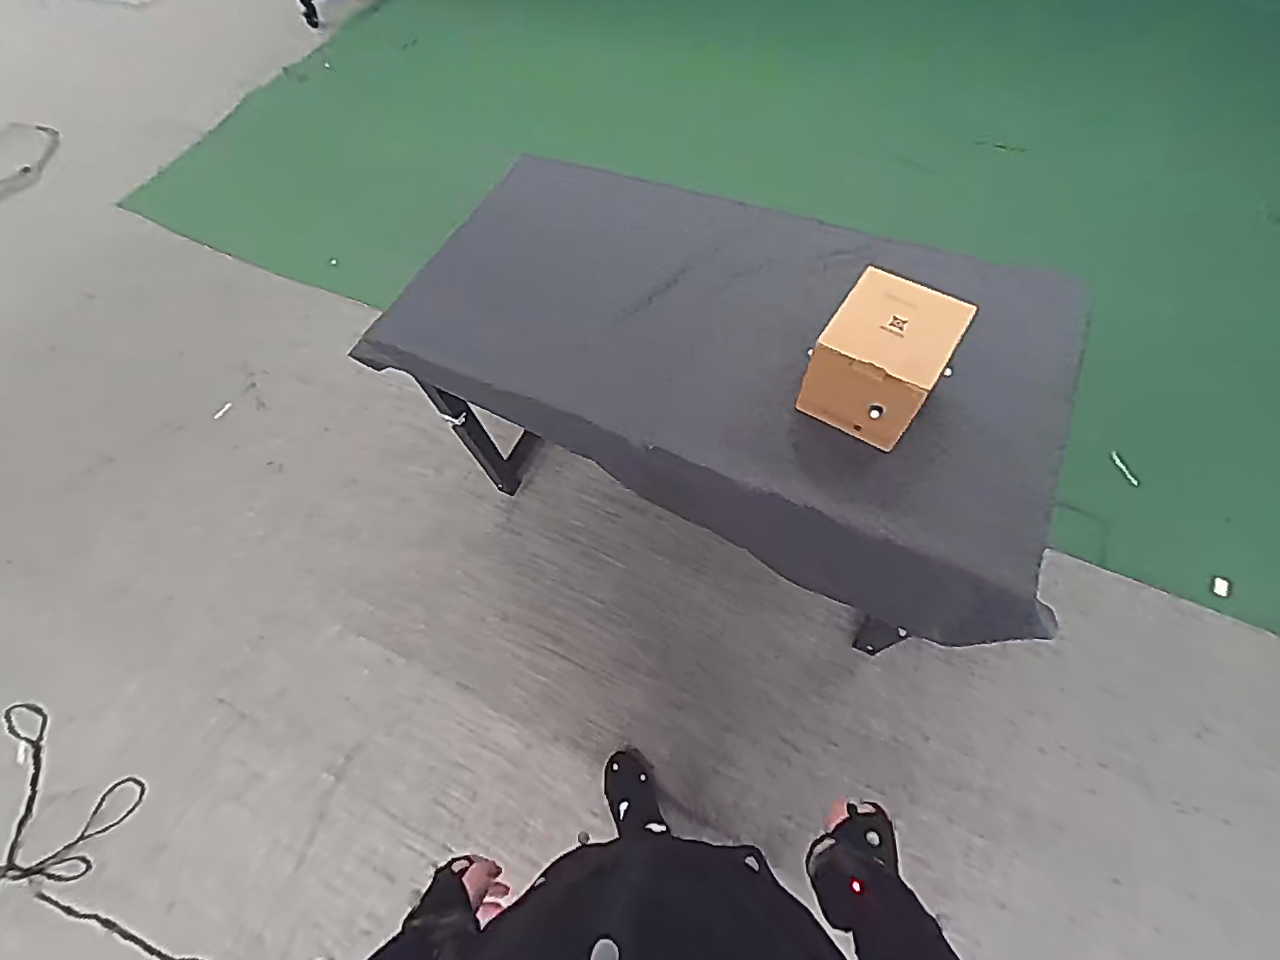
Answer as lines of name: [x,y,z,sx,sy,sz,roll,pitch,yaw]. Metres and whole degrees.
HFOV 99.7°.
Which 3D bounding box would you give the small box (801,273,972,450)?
small box: [0.369,-0.177,0.843,0.168,0.176,0.179,31,68,17]
